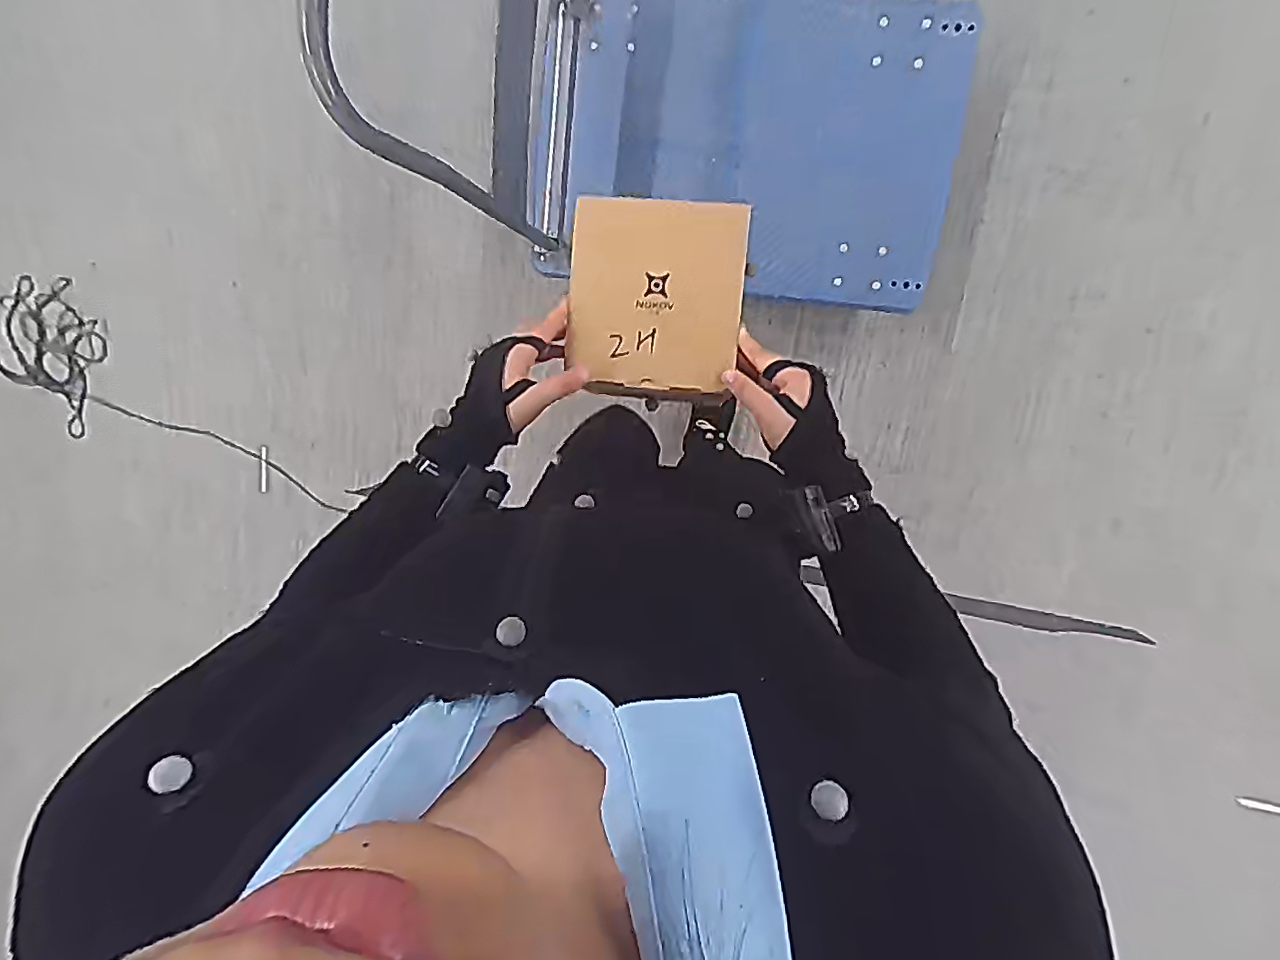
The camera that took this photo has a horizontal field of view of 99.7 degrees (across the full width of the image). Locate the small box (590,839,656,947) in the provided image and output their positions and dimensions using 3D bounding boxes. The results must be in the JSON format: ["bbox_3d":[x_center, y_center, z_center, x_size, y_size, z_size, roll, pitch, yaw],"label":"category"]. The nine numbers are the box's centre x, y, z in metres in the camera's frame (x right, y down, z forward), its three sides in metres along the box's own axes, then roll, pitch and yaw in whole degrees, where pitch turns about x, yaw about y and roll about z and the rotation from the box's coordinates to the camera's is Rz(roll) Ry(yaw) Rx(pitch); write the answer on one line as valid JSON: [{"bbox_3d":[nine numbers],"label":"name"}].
[{"bbox_3d":[-0.046,1.236,1.626,0.168,0.176,0.179,8,101,6],"label":"small box"}]

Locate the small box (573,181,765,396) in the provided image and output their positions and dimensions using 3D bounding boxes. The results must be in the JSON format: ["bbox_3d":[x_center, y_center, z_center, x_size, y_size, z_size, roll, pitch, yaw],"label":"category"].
[{"bbox_3d":[0.030,-0.189,0.581,0.168,0.176,0.179,6,96,4],"label":"small box"}]
